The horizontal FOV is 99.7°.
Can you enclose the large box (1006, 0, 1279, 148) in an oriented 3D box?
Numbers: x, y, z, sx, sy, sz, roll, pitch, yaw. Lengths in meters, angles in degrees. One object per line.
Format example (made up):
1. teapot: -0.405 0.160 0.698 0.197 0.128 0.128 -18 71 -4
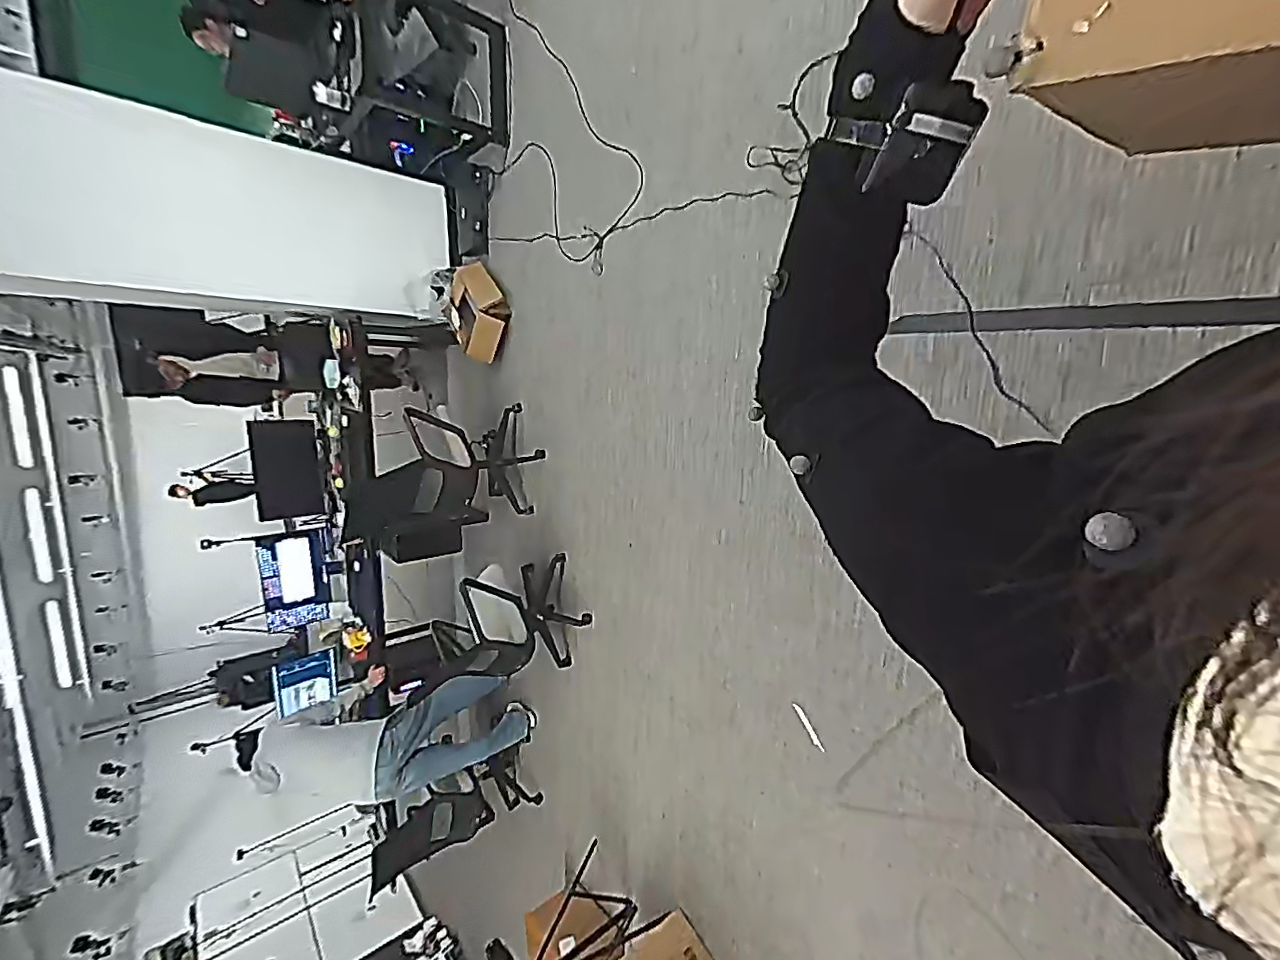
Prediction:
1. large box: 0.421 -0.312 0.159 0.408 0.320 0.320 24 122 43
